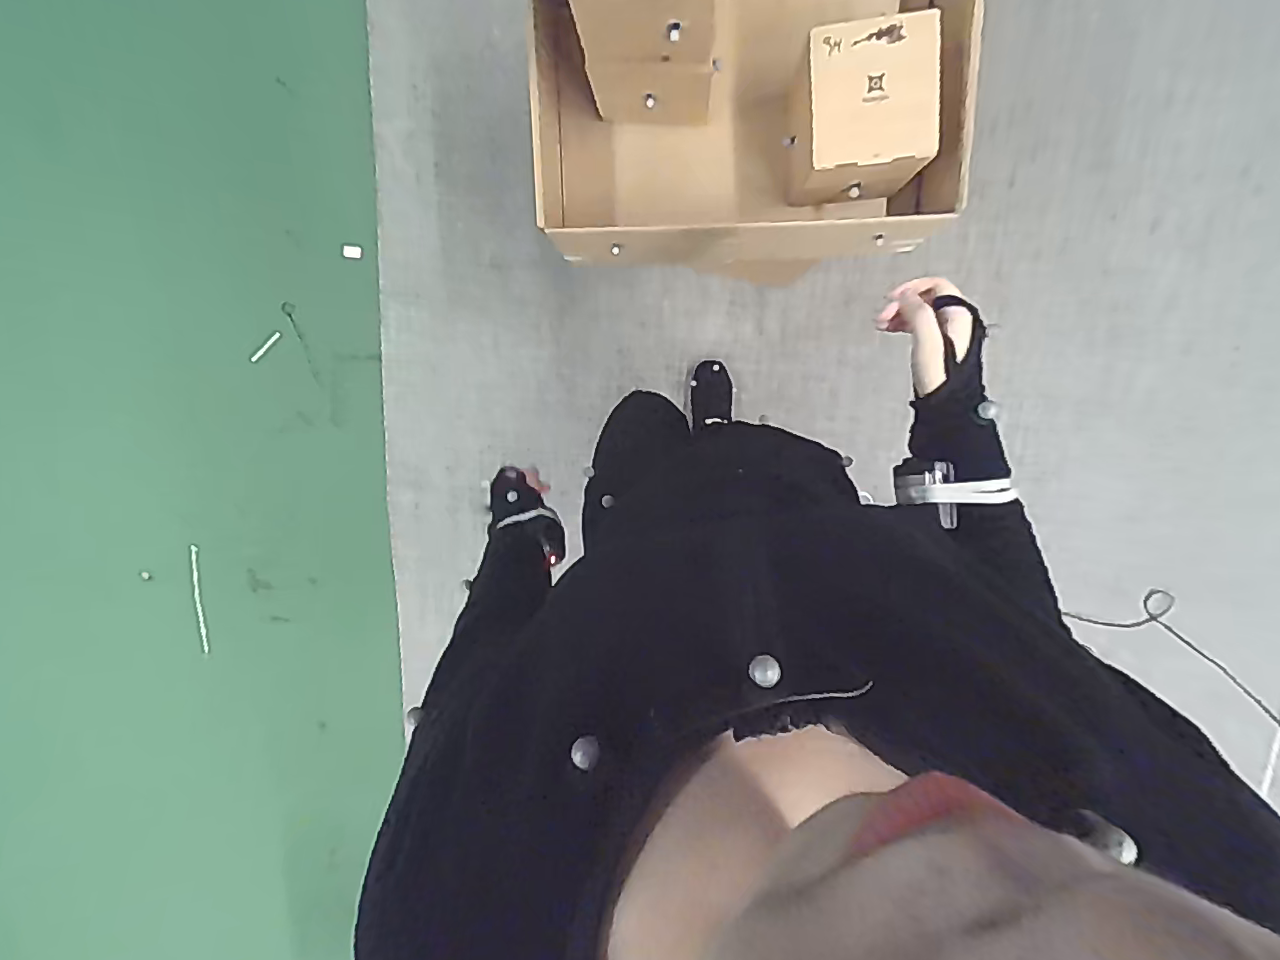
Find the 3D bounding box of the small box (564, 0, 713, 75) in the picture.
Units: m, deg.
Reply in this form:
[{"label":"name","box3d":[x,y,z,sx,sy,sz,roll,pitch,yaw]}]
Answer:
[{"label":"small box","box3d":[0.006,-0.619,0.643,0.168,0.176,0.179,2,100,3]}]
